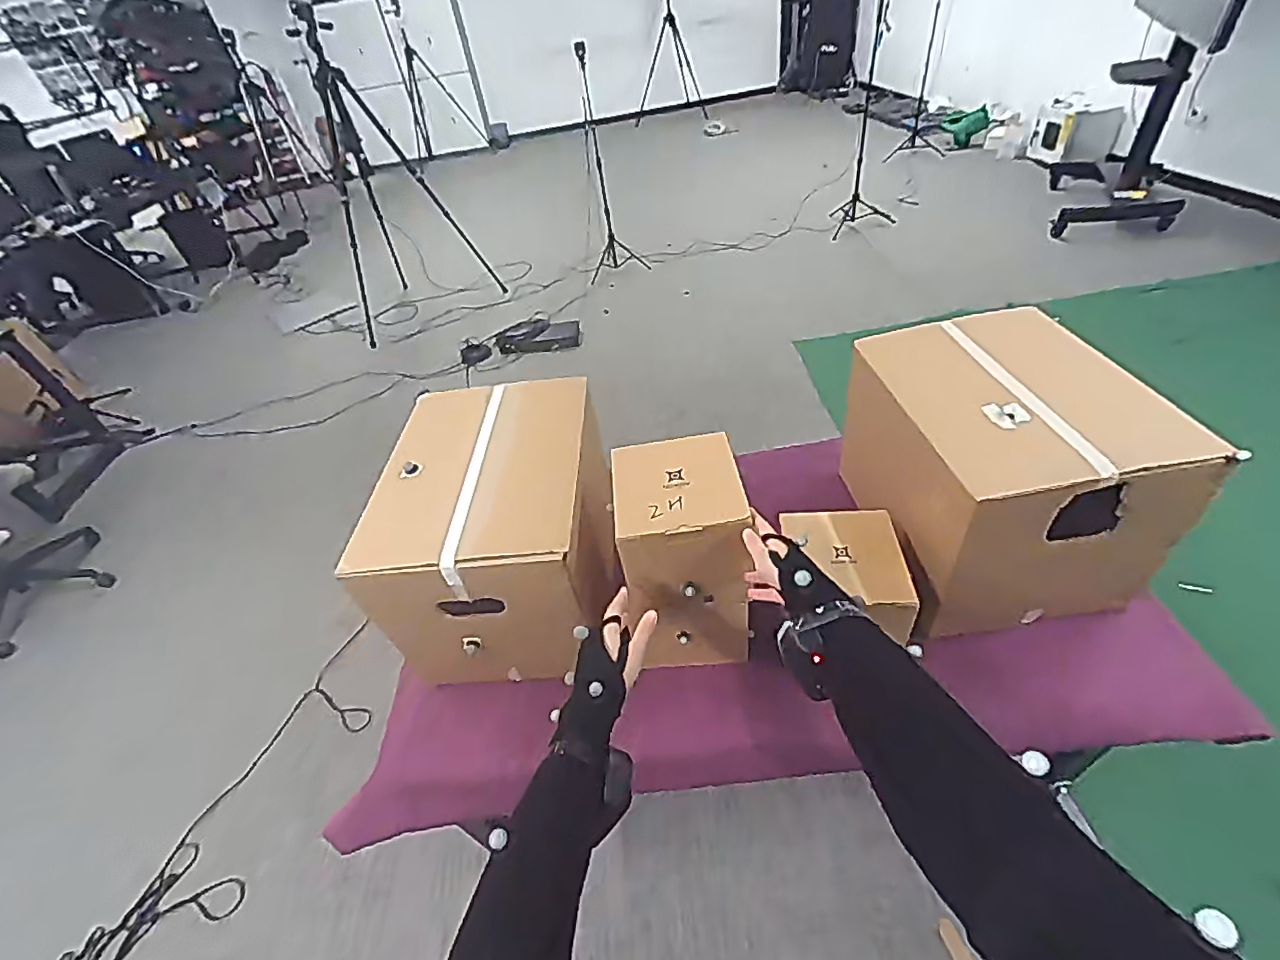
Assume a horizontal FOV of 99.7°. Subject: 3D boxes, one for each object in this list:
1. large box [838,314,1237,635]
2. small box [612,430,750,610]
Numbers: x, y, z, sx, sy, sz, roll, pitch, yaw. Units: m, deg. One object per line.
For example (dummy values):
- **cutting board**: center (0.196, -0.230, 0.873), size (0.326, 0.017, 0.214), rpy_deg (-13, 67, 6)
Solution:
- **large box**: center (0.557, -0.019, 0.884), size (0.320, 0.320, 0.408), rpy_deg (-11, 43, 3)
- **small box**: center (0.055, 0.056, 0.756), size (0.168, 0.176, 0.179), rpy_deg (-9, 41, 3)
